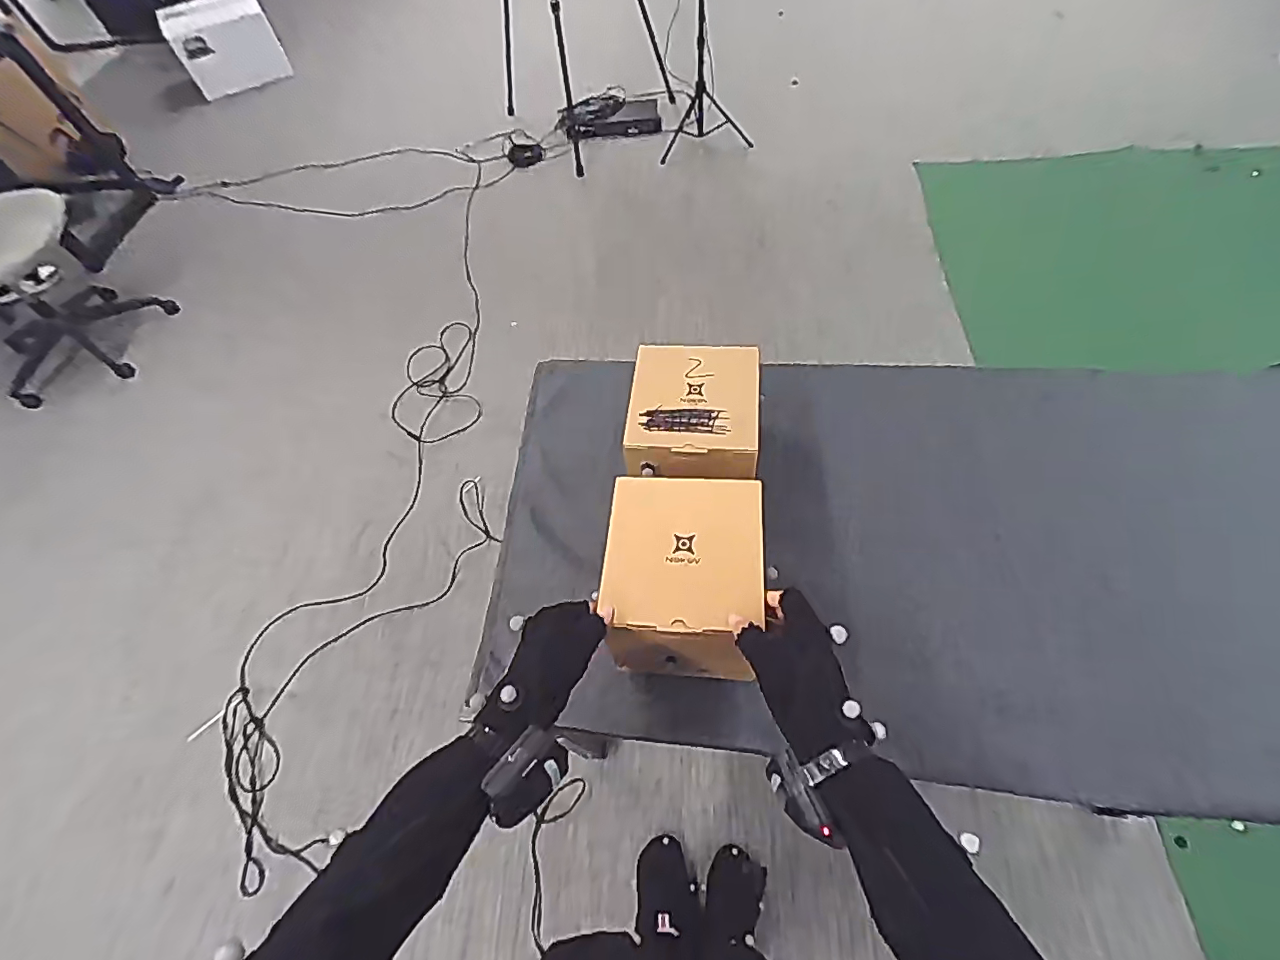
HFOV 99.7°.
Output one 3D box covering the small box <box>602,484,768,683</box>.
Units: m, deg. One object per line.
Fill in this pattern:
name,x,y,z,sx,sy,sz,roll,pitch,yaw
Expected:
small box,0.057,0.123,0.637,0.168,0.176,0.179,1,56,8
